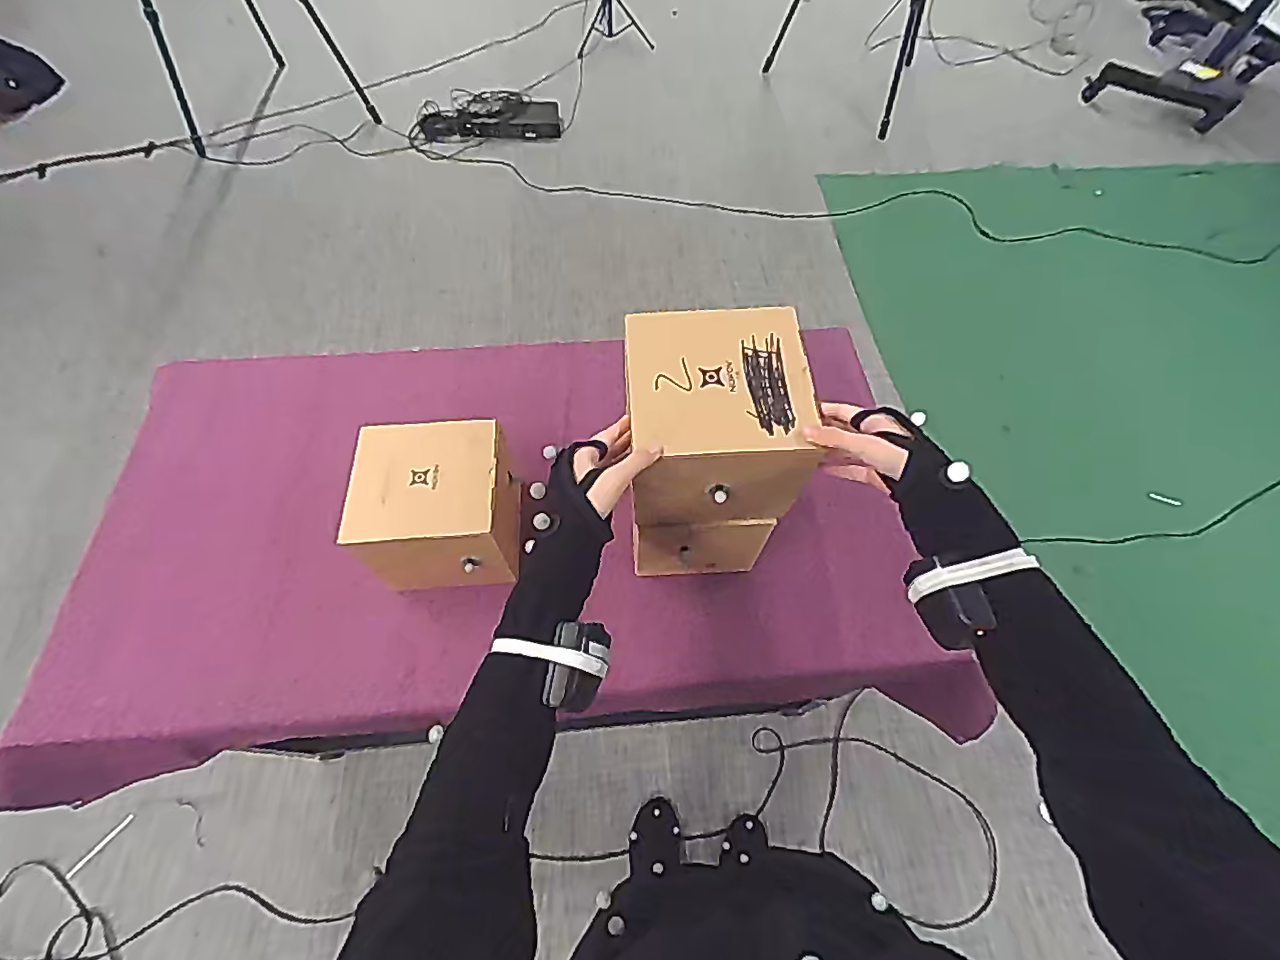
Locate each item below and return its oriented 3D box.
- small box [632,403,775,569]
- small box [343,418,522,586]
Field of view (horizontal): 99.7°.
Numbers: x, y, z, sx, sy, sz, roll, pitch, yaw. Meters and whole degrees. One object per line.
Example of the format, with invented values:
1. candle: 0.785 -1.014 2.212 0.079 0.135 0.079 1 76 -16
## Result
1. small box: 0.076 0.016 0.743 0.168 0.176 0.179 -3 59 -2
2. small box: -0.259 0.034 0.727 0.179 0.176 0.168 -4 59 -3
